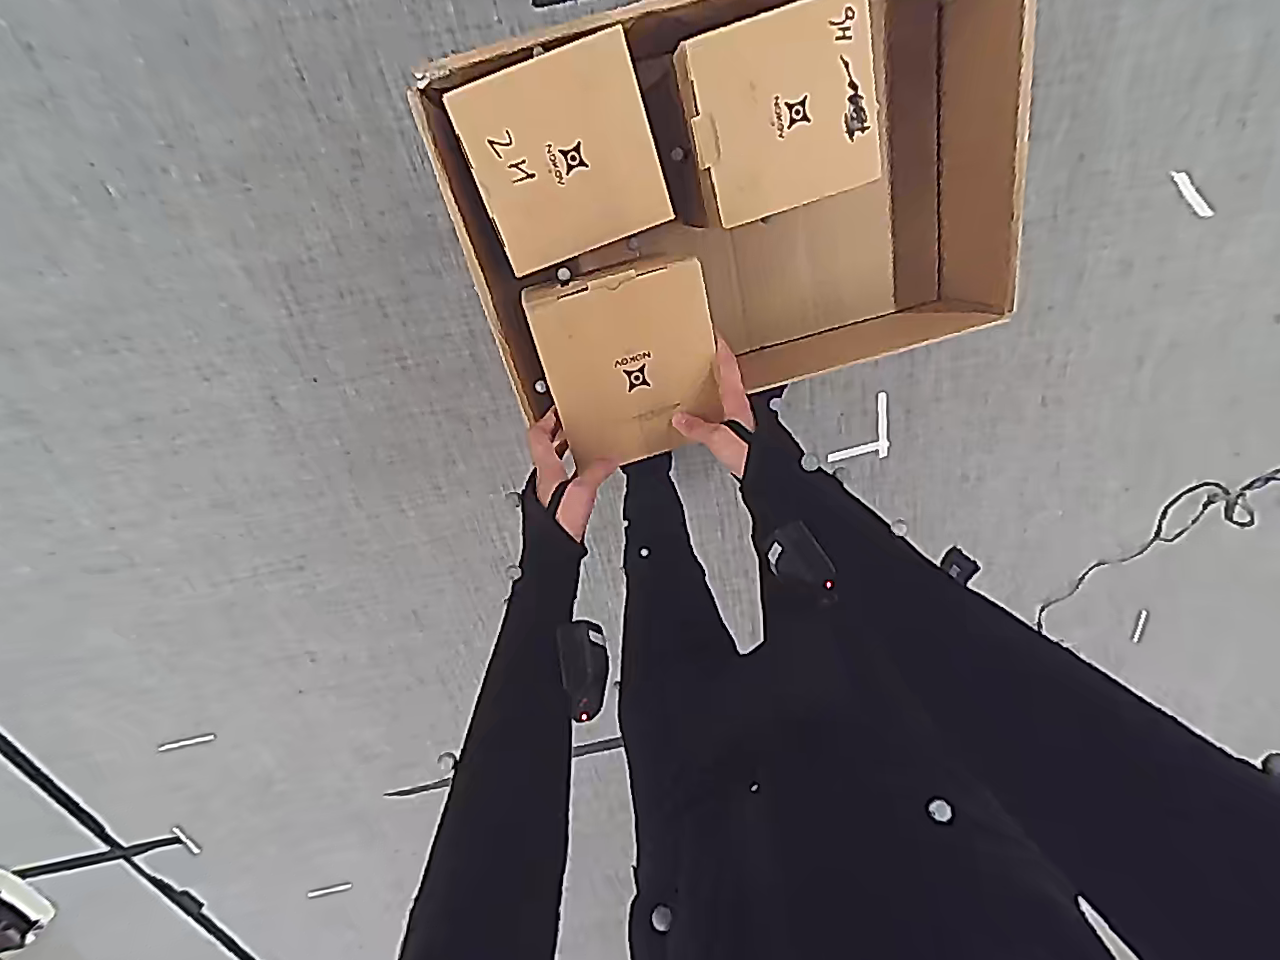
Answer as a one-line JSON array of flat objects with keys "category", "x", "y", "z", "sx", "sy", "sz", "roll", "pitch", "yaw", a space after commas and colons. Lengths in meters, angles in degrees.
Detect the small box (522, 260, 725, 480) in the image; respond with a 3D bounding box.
[{"category": "small box", "x": -0.024, "y": -0.128, "z": 0.586, "sx": 0.168, "sy": 0.176, "sz": 0.179, "roll": -17, "pitch": 116, "yaw": -4}]
